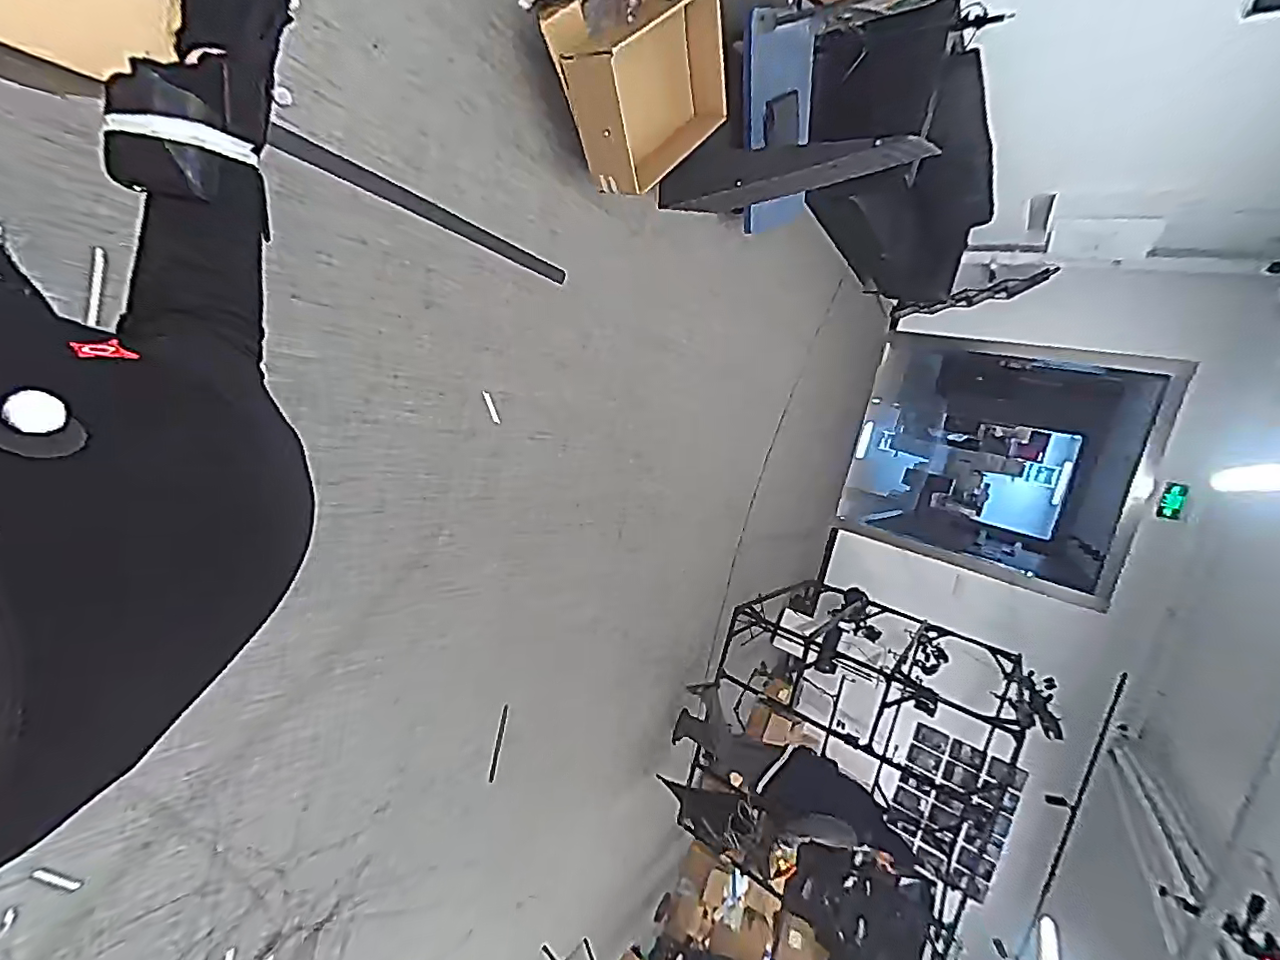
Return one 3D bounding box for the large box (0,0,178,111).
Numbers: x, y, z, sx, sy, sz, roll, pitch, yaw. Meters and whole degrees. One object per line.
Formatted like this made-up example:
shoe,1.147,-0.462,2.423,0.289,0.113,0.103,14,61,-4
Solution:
large box,-0.516,-0.432,0.245,0.408,0.320,0.320,-10,121,-57
